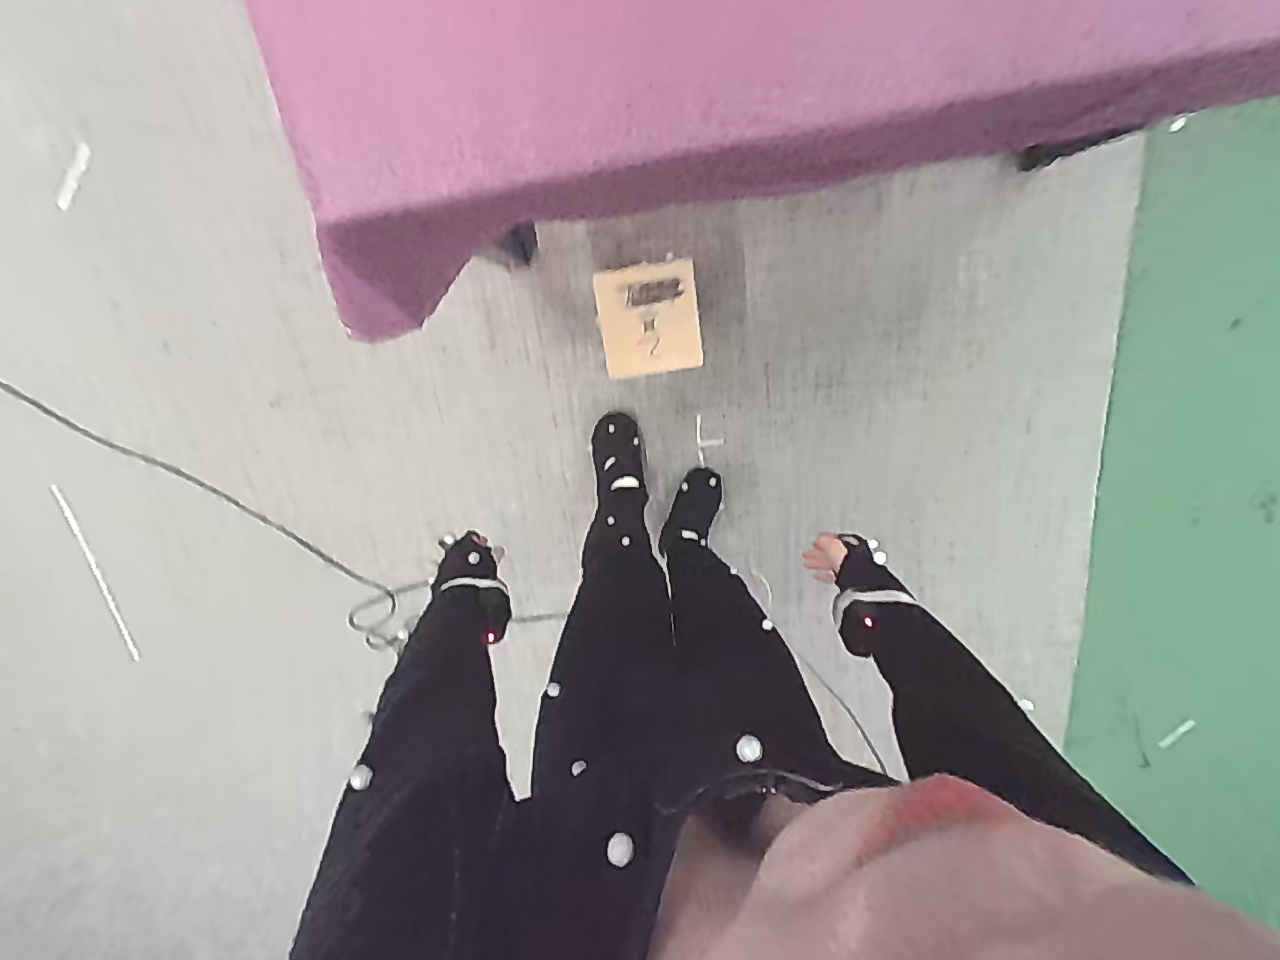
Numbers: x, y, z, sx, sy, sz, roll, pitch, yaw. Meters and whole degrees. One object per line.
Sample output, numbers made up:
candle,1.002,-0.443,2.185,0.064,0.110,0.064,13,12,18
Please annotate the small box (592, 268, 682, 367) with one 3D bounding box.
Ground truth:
small box,-0.005,-0.344,1.144,0.168,0.176,0.179,-7,107,0

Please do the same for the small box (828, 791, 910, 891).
small box,0.655,1.039,1.564,0.179,0.176,0.168,-8,107,1
